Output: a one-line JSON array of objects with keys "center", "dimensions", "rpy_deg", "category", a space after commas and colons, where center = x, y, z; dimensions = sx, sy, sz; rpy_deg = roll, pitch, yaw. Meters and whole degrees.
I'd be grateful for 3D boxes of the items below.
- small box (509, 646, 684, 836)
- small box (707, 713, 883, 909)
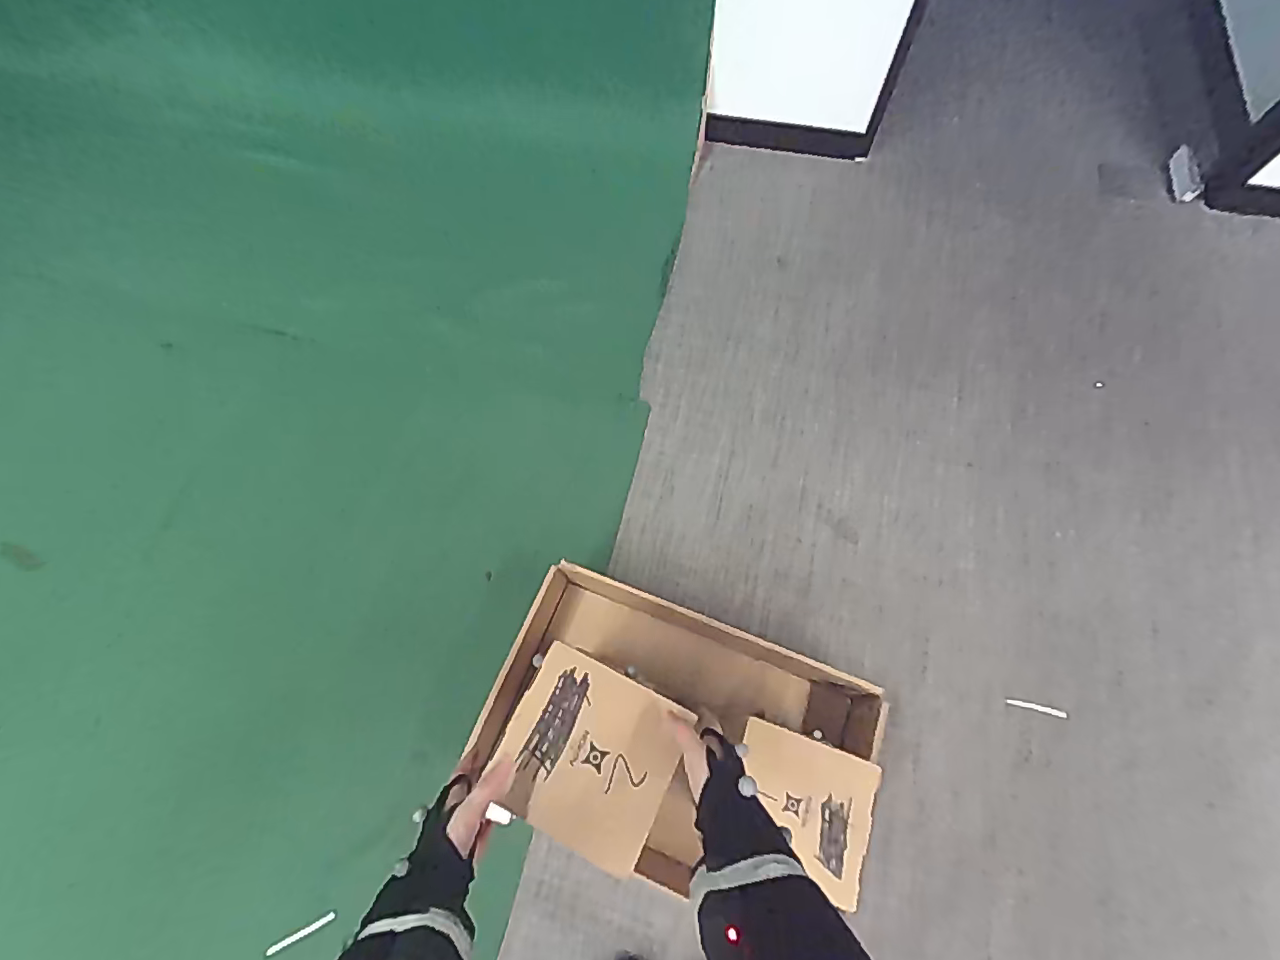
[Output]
[{"center": [-0.057, 0.364, 0.780], "dimensions": [0.179, 0.176, 0.168], "rpy_deg": [30, 72, 10], "category": "small box"}, {"center": [0.201, 0.430, 0.741], "dimensions": [0.179, 0.176, 0.168], "rpy_deg": [18, 71, 10], "category": "small box"}]
